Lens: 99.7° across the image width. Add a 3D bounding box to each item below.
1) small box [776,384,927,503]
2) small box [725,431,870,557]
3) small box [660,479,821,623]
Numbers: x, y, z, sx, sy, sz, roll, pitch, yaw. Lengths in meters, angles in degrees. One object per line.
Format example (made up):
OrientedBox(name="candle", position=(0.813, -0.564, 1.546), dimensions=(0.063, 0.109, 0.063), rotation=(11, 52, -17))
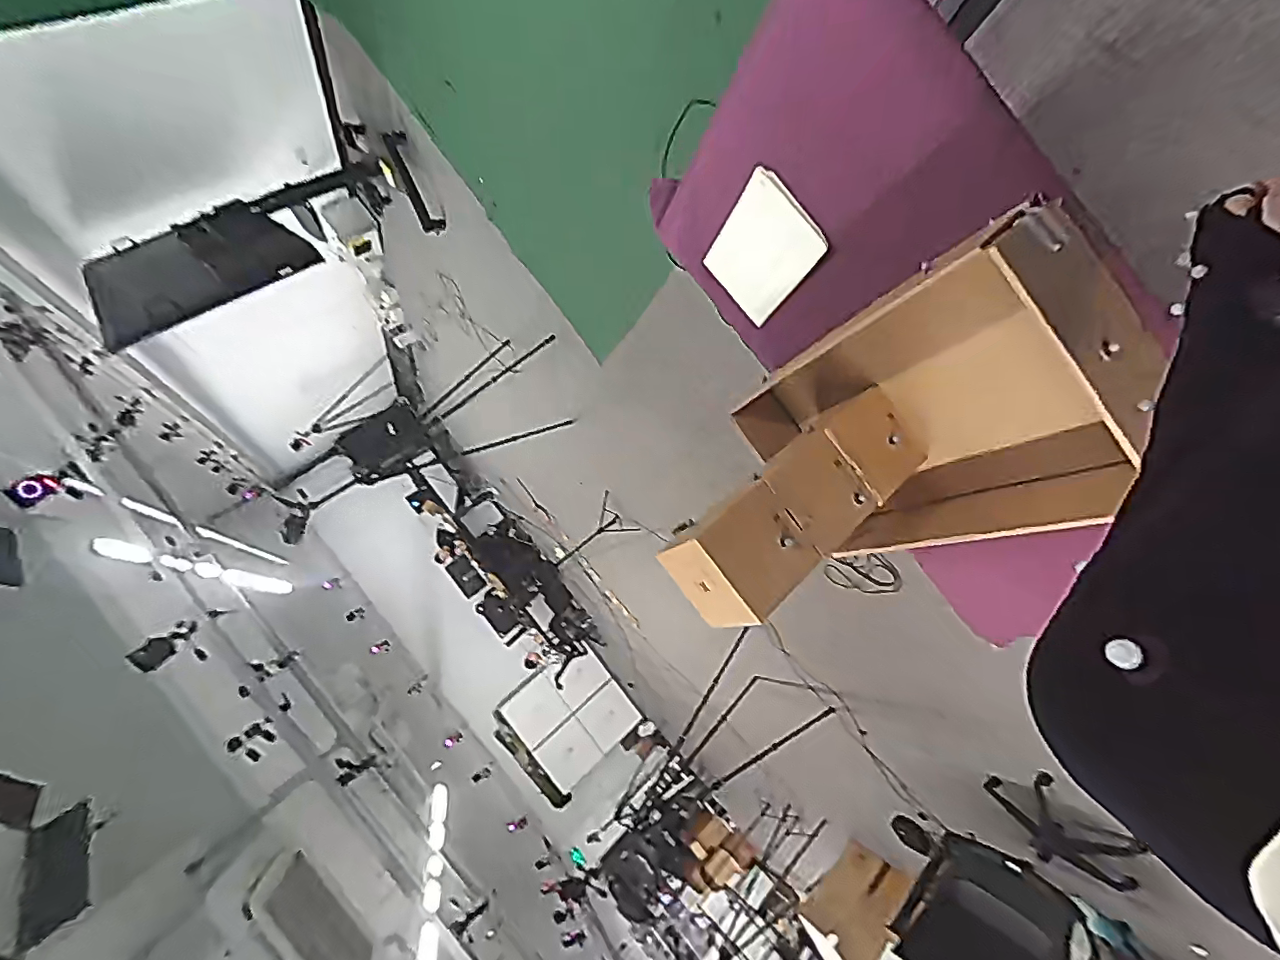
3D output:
OrientedBox(name="small box", position=(0.410, -0.055, 1.053), dimensions=(0.168, 0.176, 0.179), rotation=(53, 154, 1))
OrientedBox(name="small box", position=(0.288, 0.036, 0.991), dimensions=(0.168, 0.176, 0.179), rotation=(53, 156, 2))
OrientedBox(name="small box", position=(0.169, 0.124, 0.922), dimensions=(0.168, 0.176, 0.179), rotation=(52, 154, 1))
